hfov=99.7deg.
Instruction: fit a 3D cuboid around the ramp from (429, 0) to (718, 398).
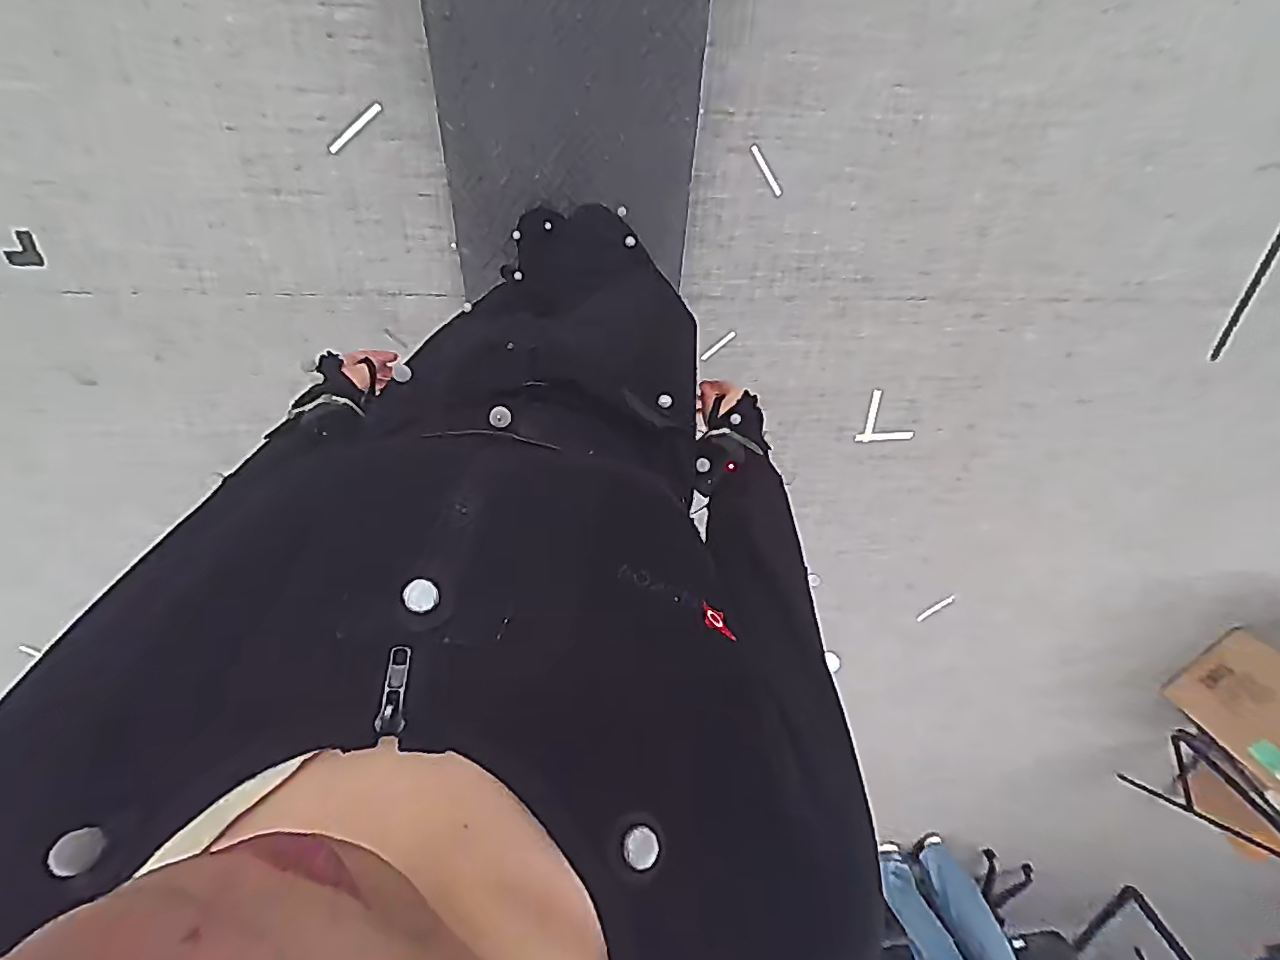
[{"bbox_3d":[-0.118,-0.605,1.088,0.509,0.206,0.991,-4,120,-6],"label":"ramp"}]
